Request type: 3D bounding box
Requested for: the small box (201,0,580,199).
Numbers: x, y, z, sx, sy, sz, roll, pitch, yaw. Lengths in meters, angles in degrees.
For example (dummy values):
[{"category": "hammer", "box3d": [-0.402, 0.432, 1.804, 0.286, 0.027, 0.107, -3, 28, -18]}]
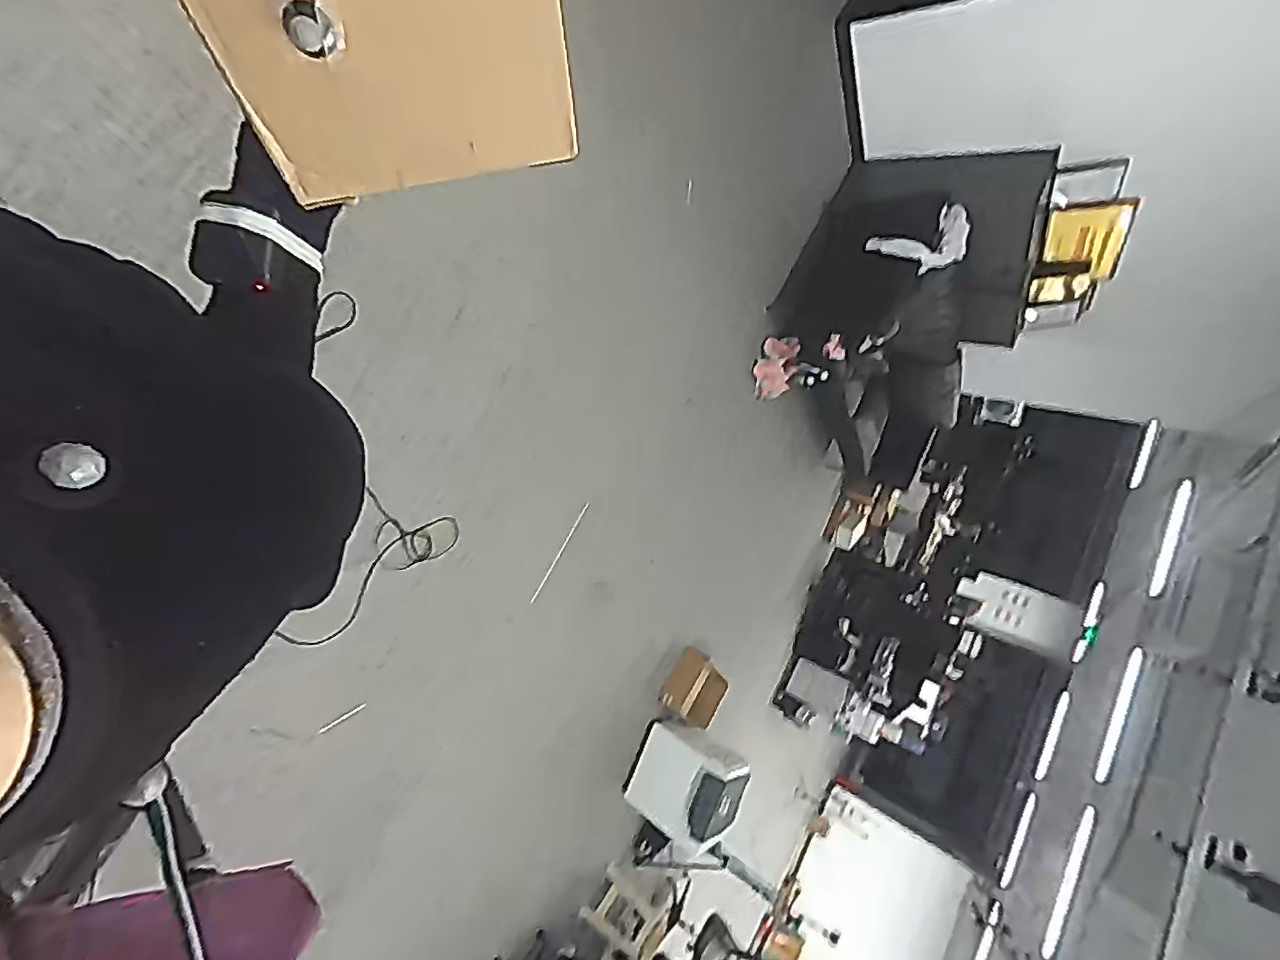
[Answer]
[{"category": "small box", "box3d": [-0.140, -0.292, 0.296, 0.168, 0.179, 0.176, -14, 146, -7]}]
